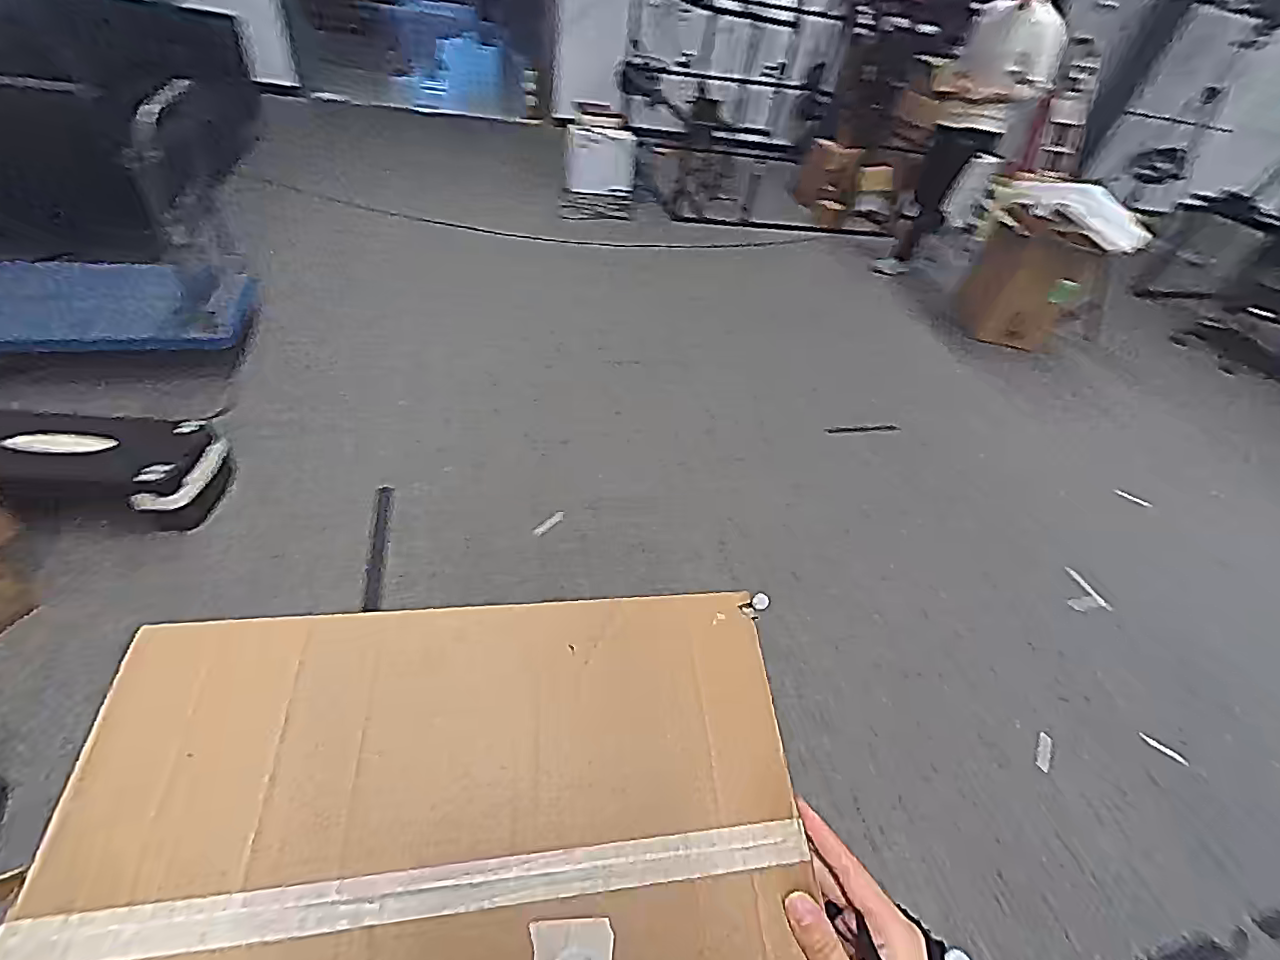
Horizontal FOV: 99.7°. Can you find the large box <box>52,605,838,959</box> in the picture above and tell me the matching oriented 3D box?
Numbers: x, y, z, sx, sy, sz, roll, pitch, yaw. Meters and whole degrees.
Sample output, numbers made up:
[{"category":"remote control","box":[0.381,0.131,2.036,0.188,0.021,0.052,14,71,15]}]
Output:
[{"category":"large box","box":[-0.110,0.310,0.417,0.408,0.320,0.320,-1,56,-9]}]
